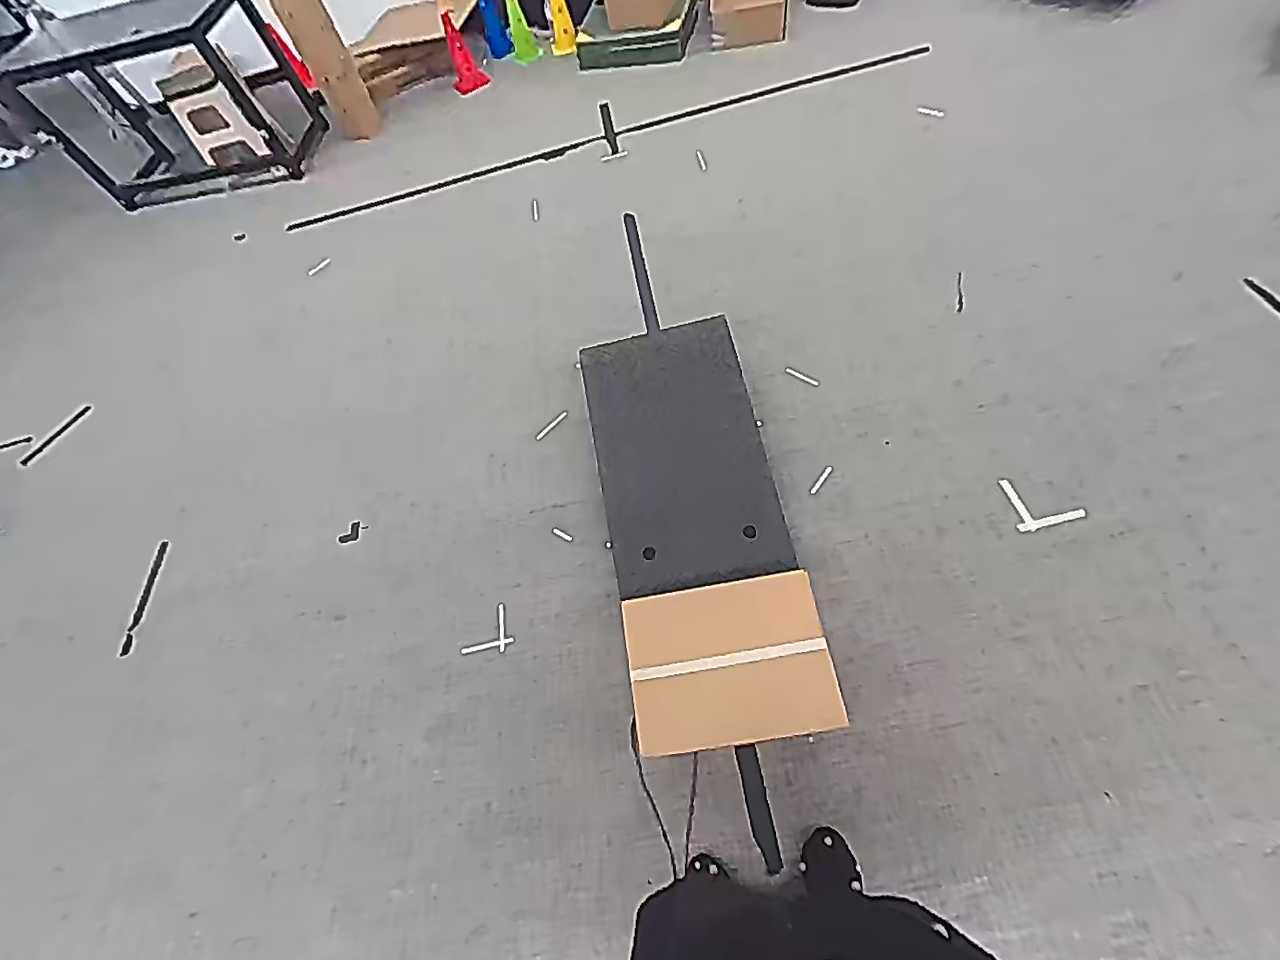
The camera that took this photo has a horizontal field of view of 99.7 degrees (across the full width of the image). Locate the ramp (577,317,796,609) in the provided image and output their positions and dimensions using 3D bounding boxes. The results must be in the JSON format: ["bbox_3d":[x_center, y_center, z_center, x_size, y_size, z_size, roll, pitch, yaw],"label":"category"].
[{"bbox_3d":[0.122,-0.019,1.590,0.509,0.206,0.991,-13,59,2],"label":"ramp"}]

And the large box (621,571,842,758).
[{"bbox_3d":[0.195,0.430,1.240,0.408,0.320,0.320,-11,63,4],"label":"large box"}]
